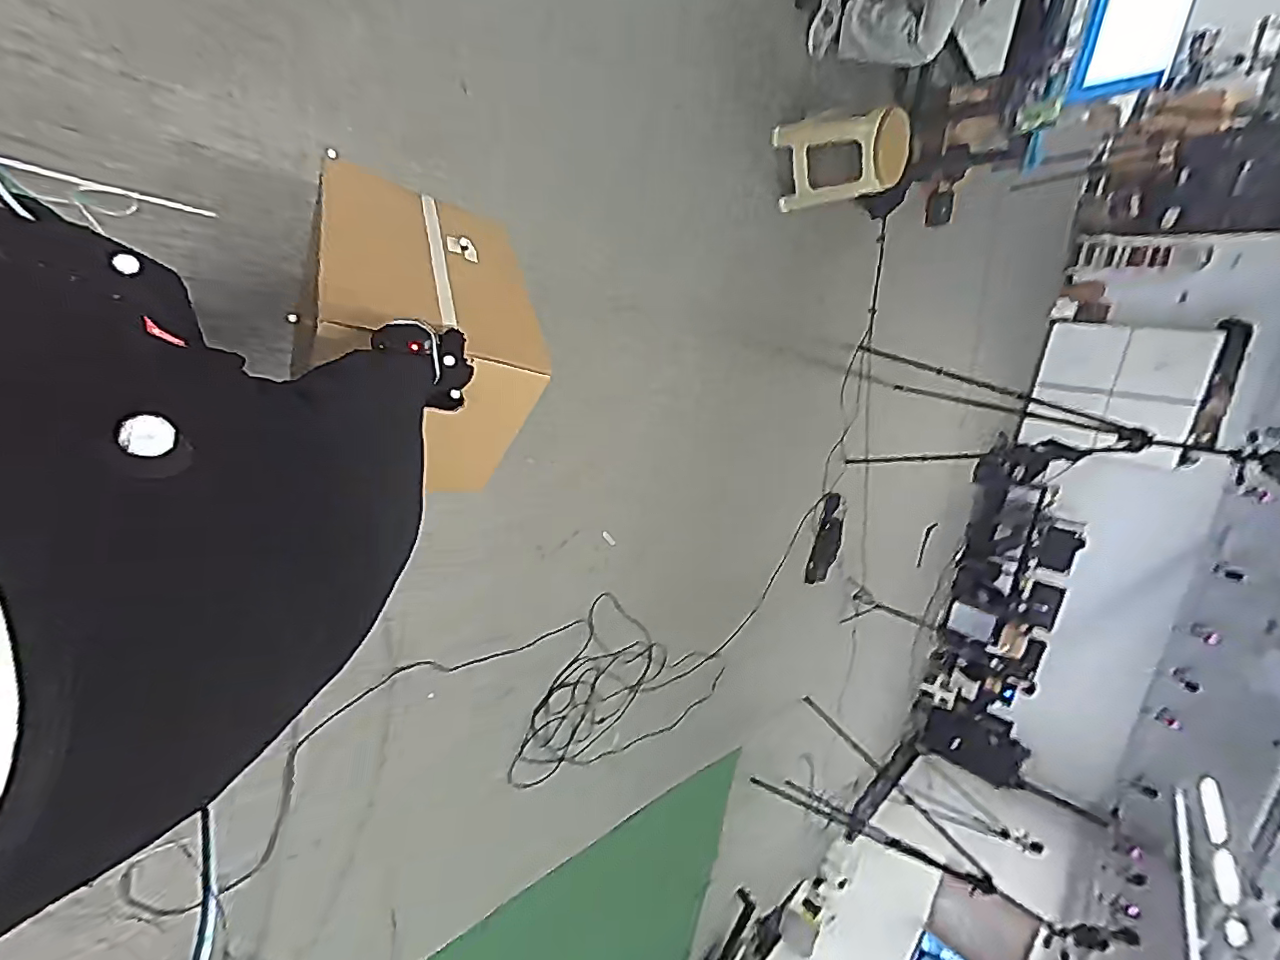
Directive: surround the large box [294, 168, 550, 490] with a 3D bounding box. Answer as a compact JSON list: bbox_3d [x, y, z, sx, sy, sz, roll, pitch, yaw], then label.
[{"bbox_3d":[-0.394,-0.235,0.931,0.320,0.408,0.320,8,137,-37],"label":"large box"}]
